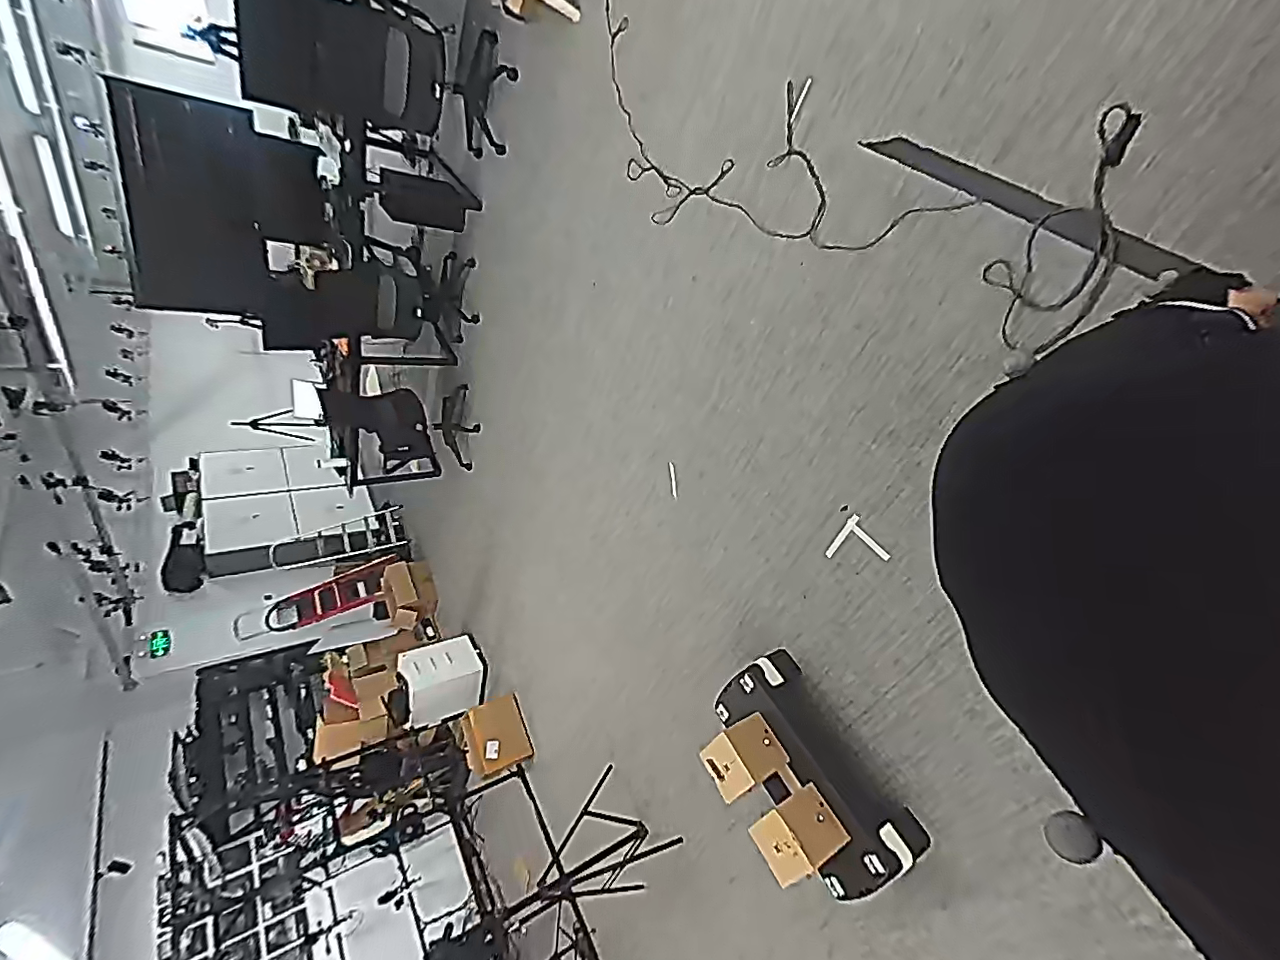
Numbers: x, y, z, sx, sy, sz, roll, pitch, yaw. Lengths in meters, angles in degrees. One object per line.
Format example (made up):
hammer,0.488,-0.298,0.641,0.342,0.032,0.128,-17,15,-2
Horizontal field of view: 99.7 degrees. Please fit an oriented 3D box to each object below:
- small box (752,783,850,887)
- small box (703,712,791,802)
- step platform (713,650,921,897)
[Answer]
small box,0.461,1.008,1.543,0.168,0.176,0.179,53,135,33
small box,0.335,0.861,1.686,0.168,0.176,0.179,55,135,32
step platform,0.527,0.912,1.731,0.684,0.204,0.286,52,135,33
